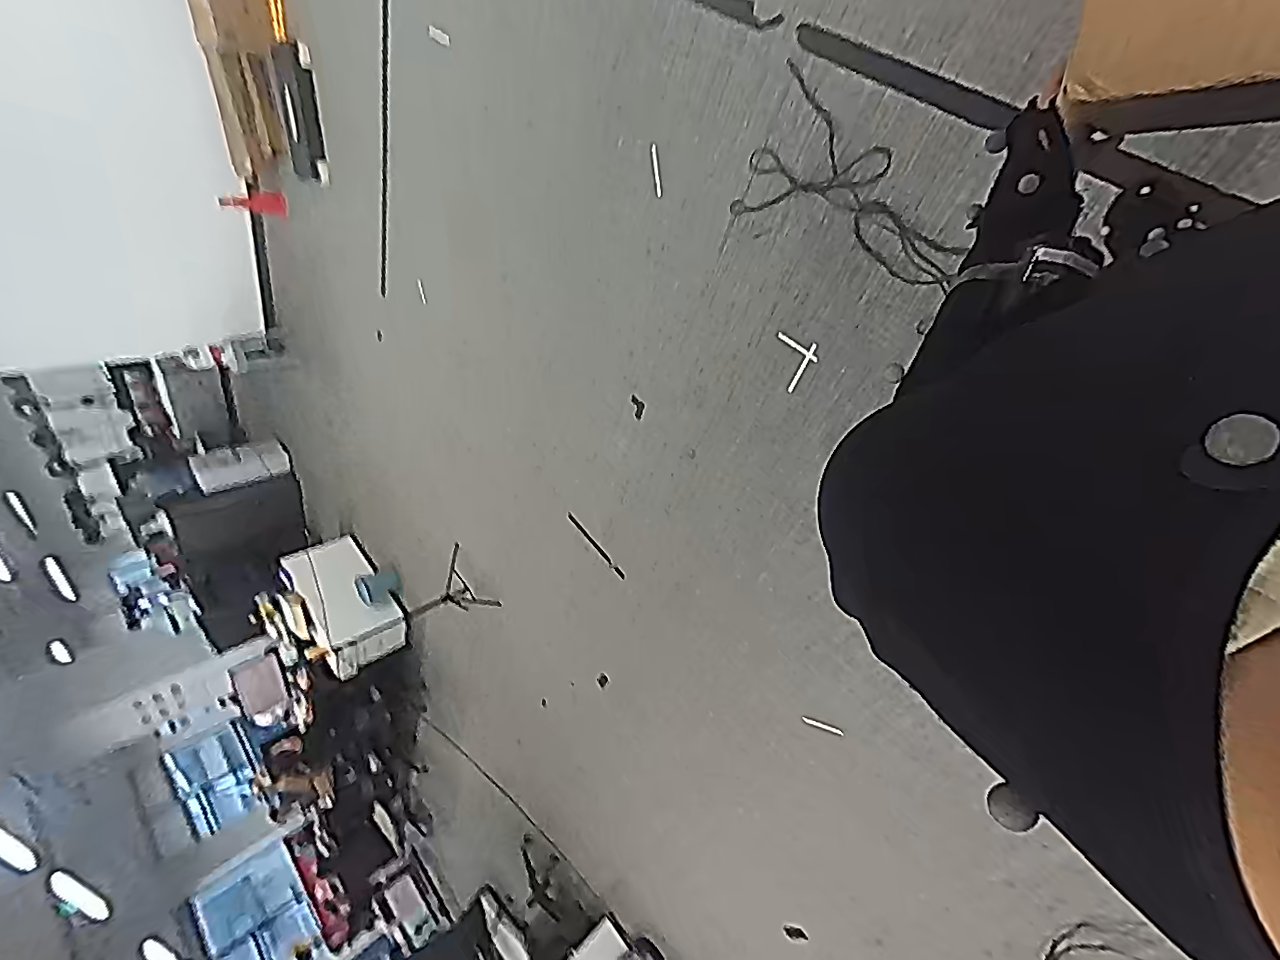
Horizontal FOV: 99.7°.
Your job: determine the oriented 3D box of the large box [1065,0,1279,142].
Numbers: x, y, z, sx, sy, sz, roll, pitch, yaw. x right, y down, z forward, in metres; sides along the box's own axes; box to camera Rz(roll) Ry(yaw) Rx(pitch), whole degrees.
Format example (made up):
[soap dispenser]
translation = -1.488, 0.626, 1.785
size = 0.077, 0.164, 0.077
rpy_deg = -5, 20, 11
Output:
[large box]
translation = 0.427, -0.322, 0.172
size = 0.408, 0.320, 0.320
rpy_deg = 16, 123, 36
